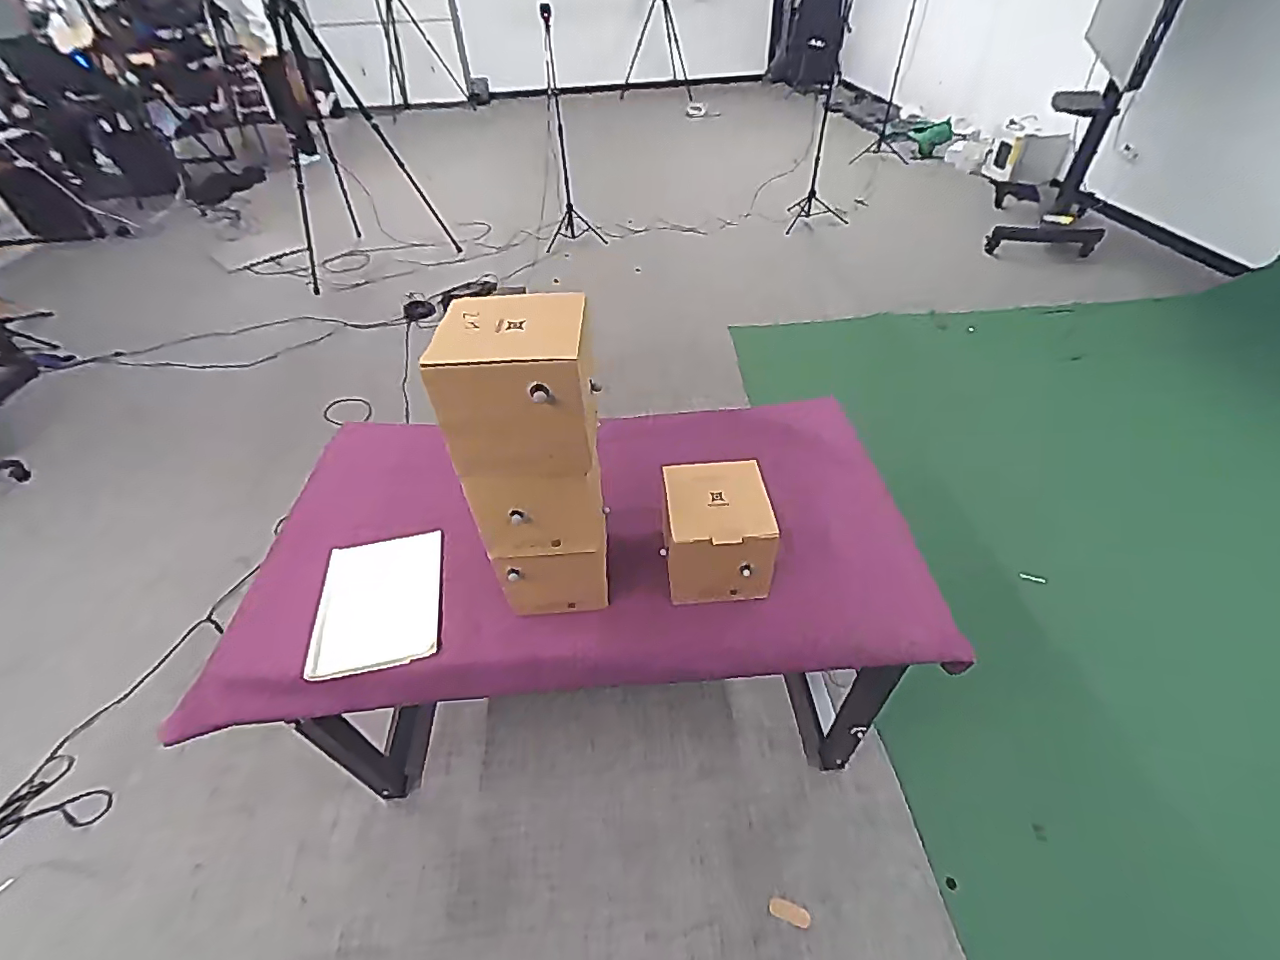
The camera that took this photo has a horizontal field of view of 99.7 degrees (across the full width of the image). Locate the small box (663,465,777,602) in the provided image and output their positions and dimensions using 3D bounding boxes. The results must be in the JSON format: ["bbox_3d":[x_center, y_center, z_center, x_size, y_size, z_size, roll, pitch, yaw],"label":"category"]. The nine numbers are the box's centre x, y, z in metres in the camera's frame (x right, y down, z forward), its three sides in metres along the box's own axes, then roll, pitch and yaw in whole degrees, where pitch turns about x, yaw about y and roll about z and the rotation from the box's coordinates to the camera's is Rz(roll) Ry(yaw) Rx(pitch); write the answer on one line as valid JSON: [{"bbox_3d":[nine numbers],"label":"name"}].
[{"bbox_3d":[0.129,0.096,0.930,0.168,0.176,0.179,-3,42,-1],"label":"small box"}]

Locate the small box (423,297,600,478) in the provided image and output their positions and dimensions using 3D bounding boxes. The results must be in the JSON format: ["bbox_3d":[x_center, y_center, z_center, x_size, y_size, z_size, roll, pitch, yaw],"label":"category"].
[{"bbox_3d":[-0.145,-0.117,0.691,0.179,0.176,0.168,-2,42,1],"label":"small box"}]

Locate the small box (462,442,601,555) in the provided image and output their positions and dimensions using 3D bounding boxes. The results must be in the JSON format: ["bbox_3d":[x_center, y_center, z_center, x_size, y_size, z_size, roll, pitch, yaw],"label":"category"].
[{"bbox_3d":[-0.147,0.000,0.809,0.168,0.176,0.179,-4,43,0],"label":"small box"}]
